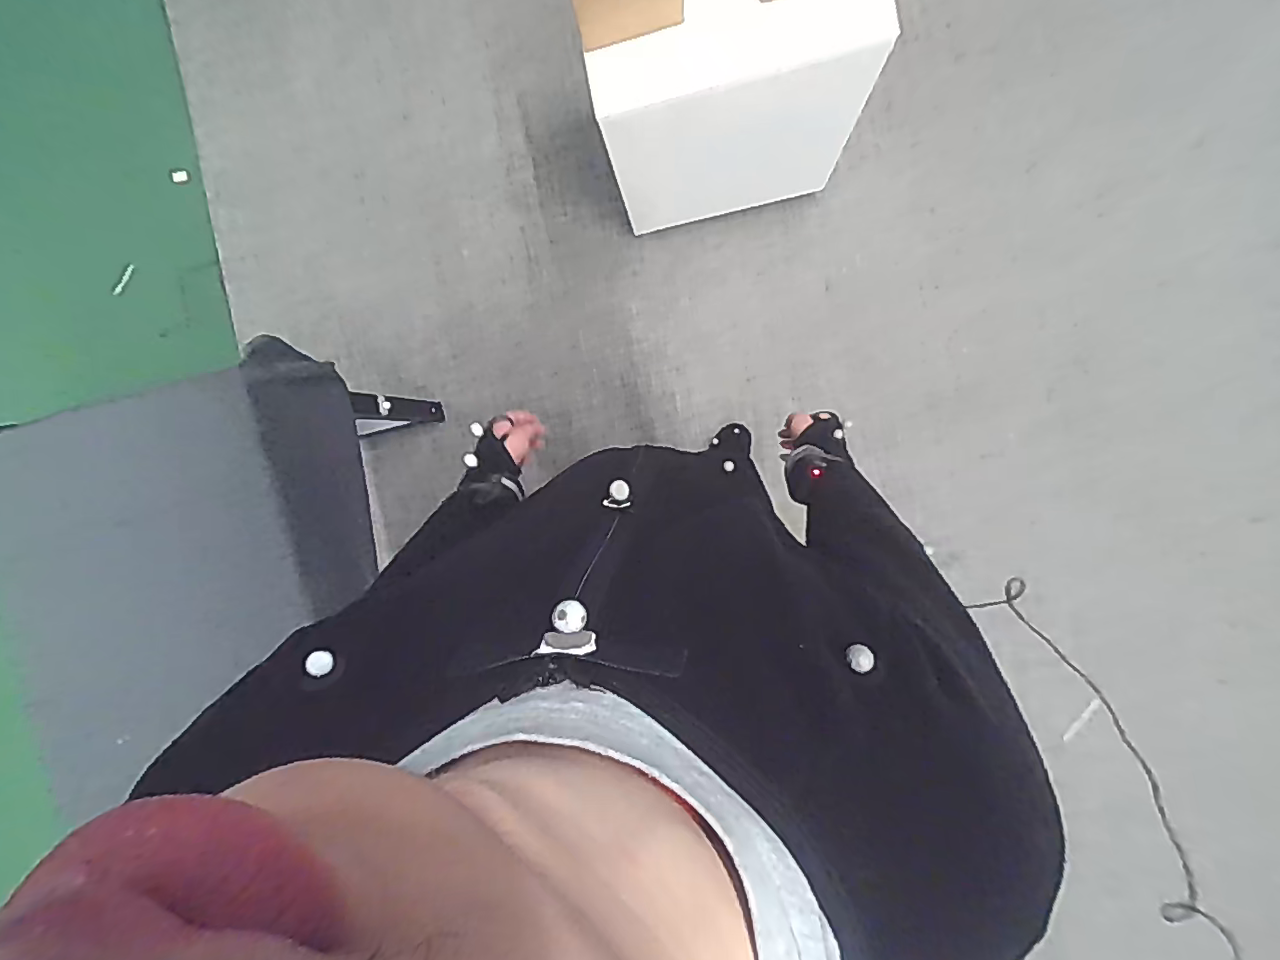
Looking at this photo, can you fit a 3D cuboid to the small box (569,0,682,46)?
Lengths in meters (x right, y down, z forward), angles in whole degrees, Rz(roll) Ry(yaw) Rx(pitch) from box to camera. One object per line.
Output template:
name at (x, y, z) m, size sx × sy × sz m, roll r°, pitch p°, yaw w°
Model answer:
small box at (-0.037, -0.814, 0.821) m, size 0.179 × 0.176 × 0.168 m, roll -12°, pitch 93°, yaw 5°
